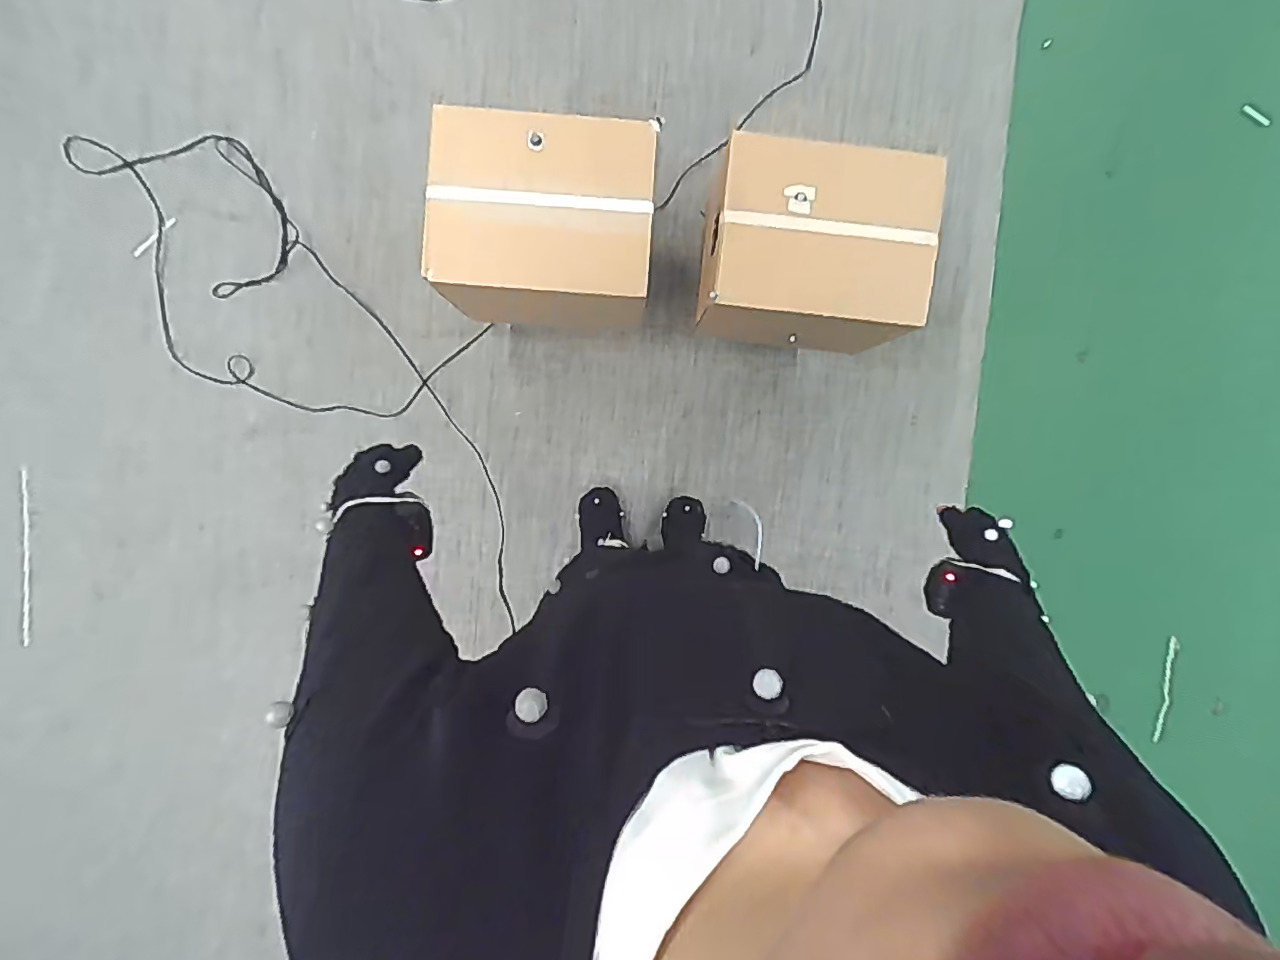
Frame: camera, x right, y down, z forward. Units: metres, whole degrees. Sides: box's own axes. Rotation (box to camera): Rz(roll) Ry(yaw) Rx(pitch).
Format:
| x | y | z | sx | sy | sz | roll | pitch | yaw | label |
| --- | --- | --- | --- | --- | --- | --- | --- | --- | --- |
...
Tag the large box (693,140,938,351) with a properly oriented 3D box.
| x | y | z | sx | sy | sz | roll | pitch | yaw | label |
| --- | --- | --- | --- | --- | --- | --- | --- | --- | --- |
| 0.344 | -0.470 | 1.159 | 0.408 | 0.320 | 0.320 | 6 | 93 | -2 | large box |
